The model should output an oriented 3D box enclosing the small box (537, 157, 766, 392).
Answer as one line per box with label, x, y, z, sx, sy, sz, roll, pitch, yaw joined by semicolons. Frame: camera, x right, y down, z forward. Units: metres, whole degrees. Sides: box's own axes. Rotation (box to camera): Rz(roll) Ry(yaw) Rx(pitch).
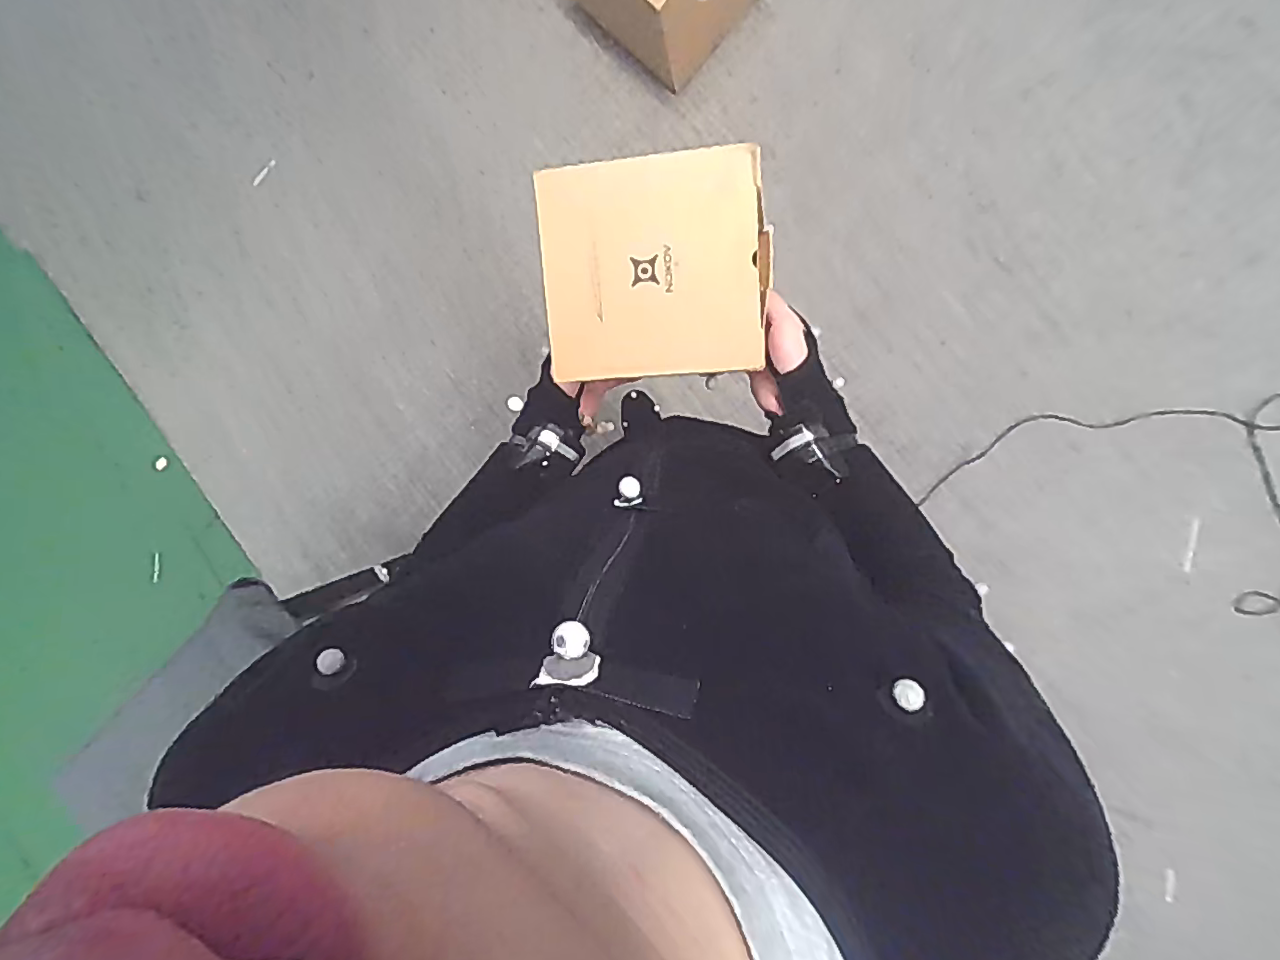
small box;0.021;-0.173;0.507;0.179;0.176;0.168;-3;100;11
